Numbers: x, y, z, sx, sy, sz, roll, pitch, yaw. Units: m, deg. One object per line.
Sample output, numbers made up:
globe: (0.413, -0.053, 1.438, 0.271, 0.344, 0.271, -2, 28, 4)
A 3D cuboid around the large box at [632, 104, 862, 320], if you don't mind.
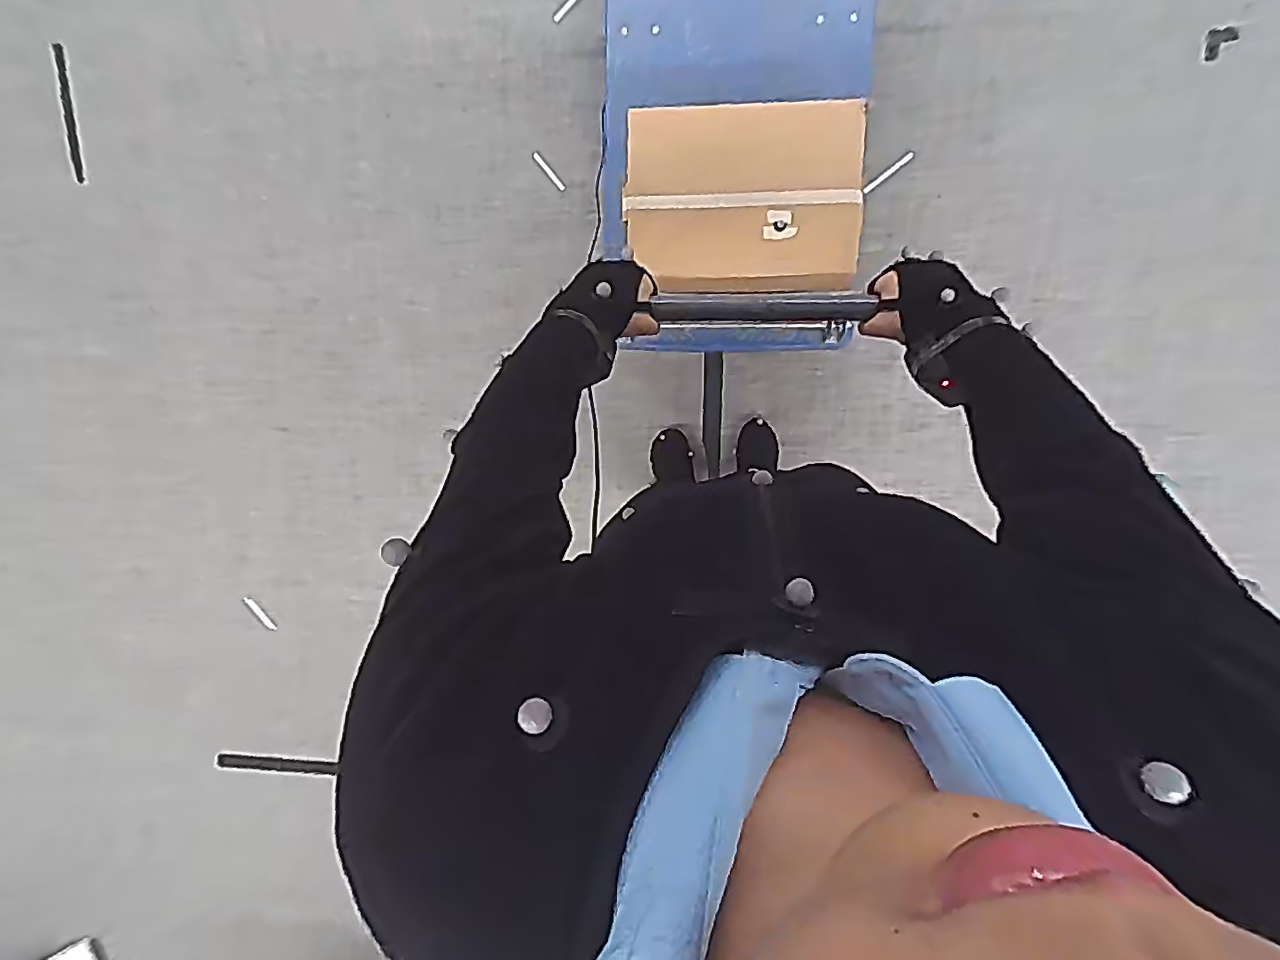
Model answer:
large box: (0.195, -0.513, 1.110, 0.408, 0.320, 0.320, 1, 99, 5)
